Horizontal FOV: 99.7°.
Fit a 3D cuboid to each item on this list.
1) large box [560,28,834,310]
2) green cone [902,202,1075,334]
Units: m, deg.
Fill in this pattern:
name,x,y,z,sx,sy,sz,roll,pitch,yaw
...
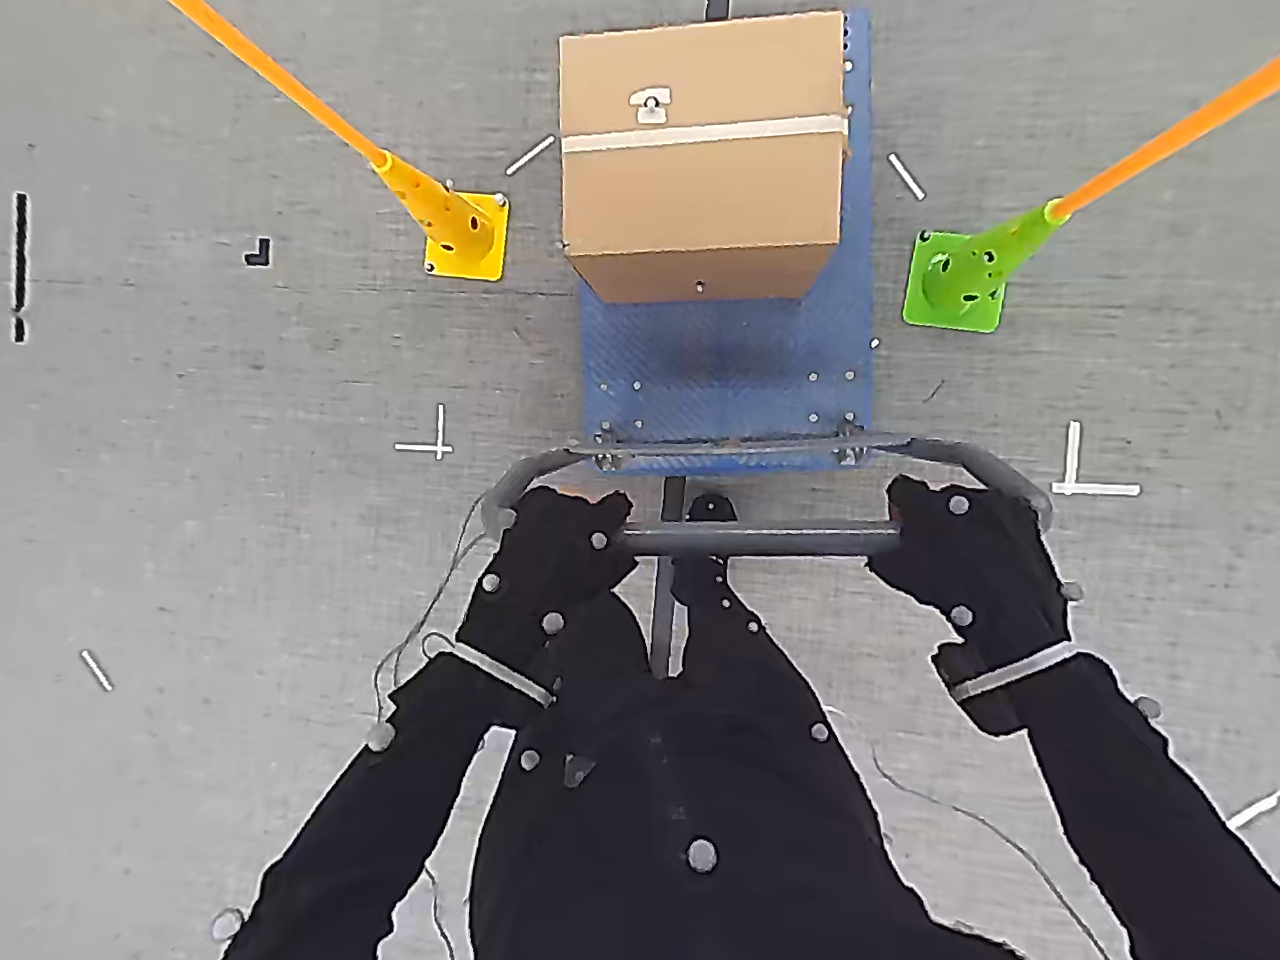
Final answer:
name,x,y,z,sx,sy,sz,roll,pitch,yaw
large box,0.102,-0.491,0.942,0.408,0.320,0.320,0,94,8
green cone,0.669,-0.418,1.015,0.202,0.368,0.200,8,95,6
